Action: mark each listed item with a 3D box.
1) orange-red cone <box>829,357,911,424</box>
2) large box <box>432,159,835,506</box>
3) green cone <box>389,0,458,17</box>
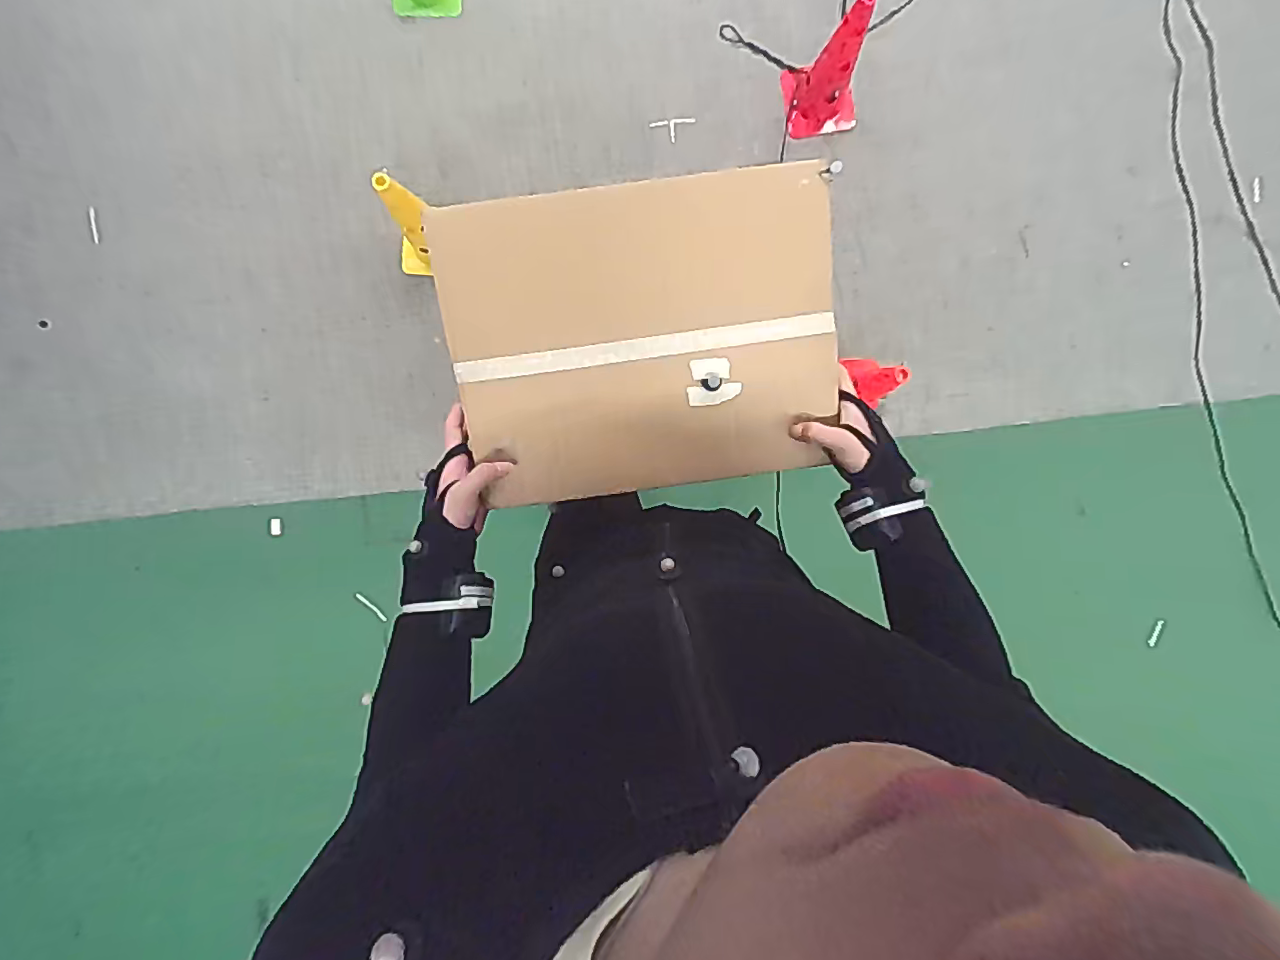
[{"bbox_3d":[0.619,-0.259,1.445,0.199,0.360,0.198,1,93,-2],"label":"orange-red cone"},{"bbox_3d":[-0.002,-0.183,0.724,0.408,0.320,0.320,-9,106,-1],"label":"large box"},{"bbox_3d":[-0.633,-1.442,1.399,0.200,0.368,0.202,-1,94,0],"label":"green cone"}]
